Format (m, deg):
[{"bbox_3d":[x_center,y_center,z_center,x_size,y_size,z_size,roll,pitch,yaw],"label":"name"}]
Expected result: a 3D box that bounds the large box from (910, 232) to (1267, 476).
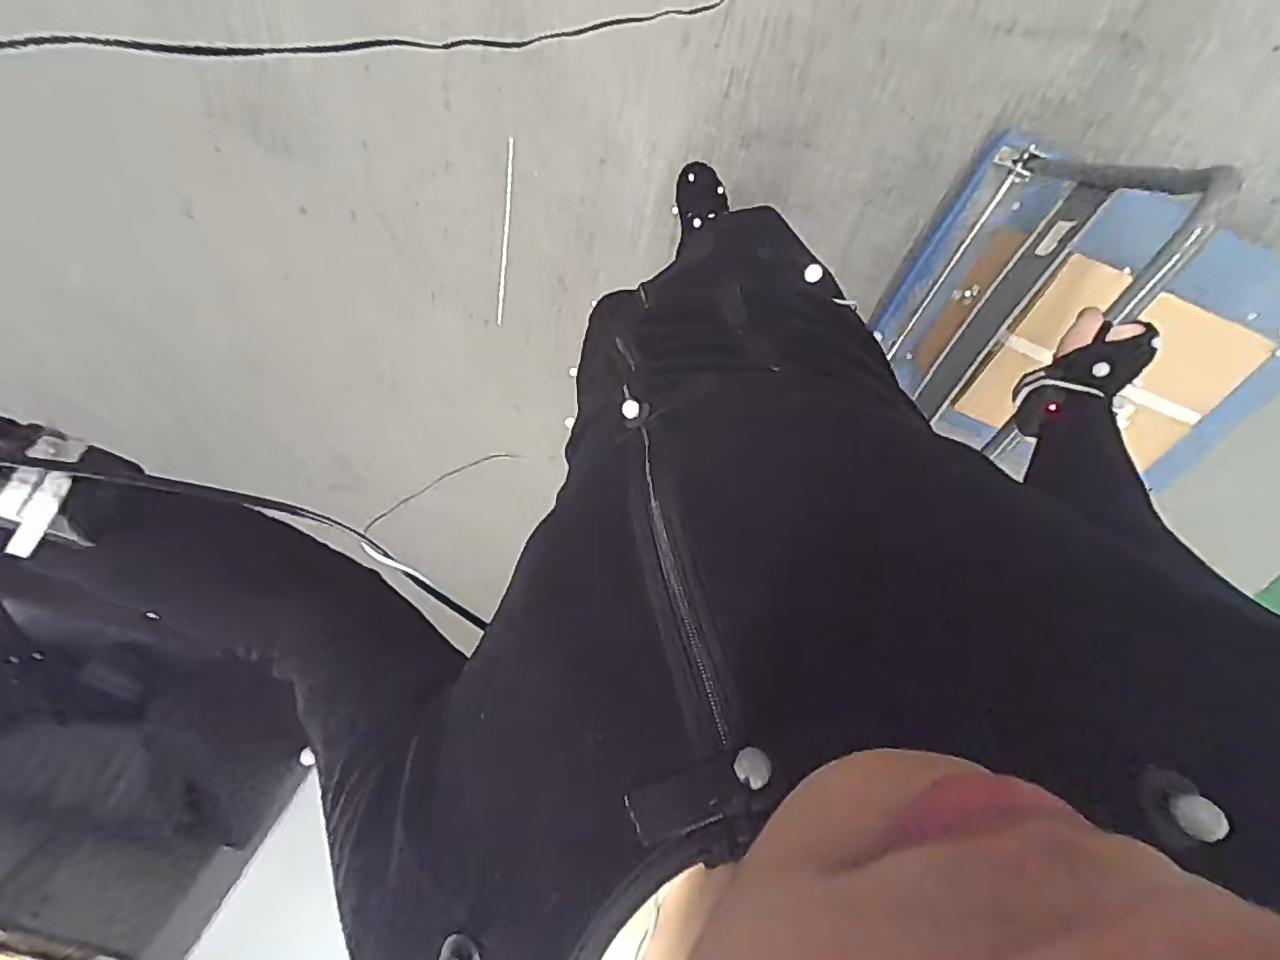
[{"bbox_3d":[0.859,-0.270,1.116,0.408,0.320,0.320,21,124,-4],"label":"large box"}]
